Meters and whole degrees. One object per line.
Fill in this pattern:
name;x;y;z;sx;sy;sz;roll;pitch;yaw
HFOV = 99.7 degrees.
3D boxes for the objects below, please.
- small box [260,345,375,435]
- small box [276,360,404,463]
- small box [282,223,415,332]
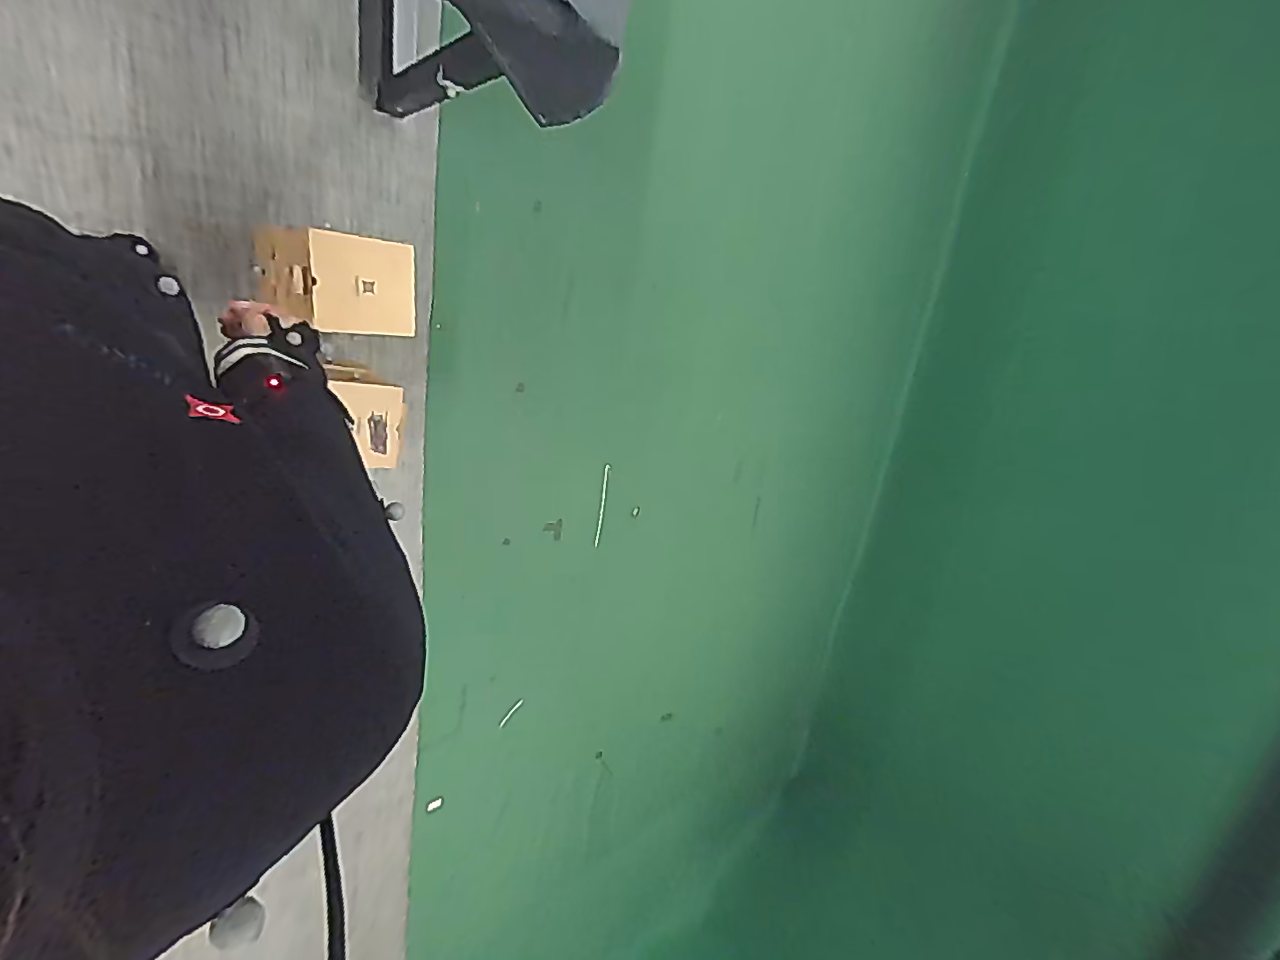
small box;-0.698;-0.191;1.168;0.179;0.176;0.168;-1;108;-43
small box;-0.589;-0.135;1.058;0.179;0.176;0.168;-1;107;-44
small box;-0.537;-0.374;1.001;0.179;0.176;0.168;-10;115;-43
